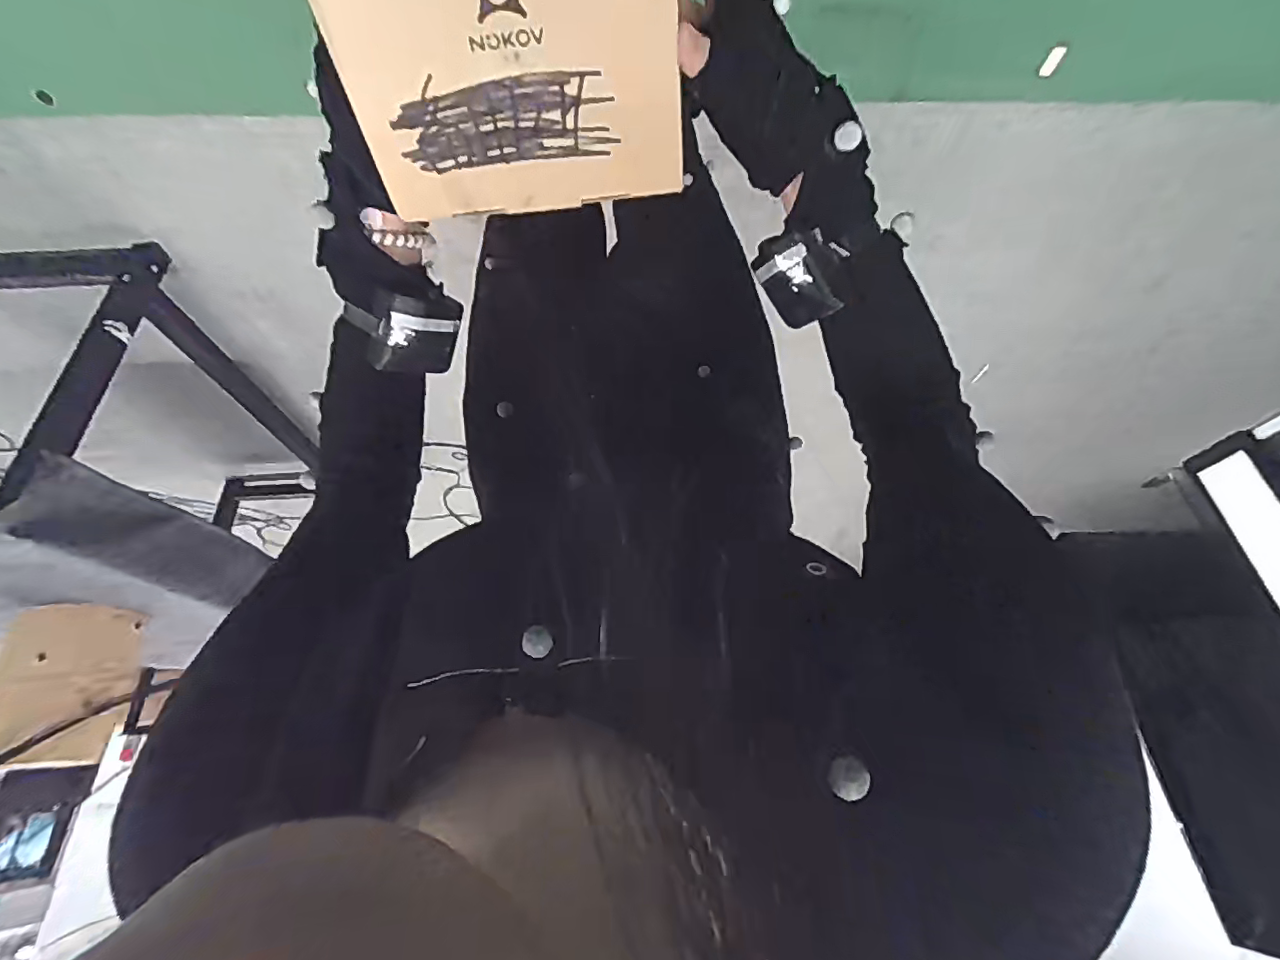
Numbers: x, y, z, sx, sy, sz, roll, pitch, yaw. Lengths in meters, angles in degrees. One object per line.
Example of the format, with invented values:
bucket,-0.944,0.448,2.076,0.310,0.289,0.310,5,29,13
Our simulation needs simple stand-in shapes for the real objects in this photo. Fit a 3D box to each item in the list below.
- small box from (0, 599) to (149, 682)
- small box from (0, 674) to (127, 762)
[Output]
small box,-1.329,0.386,1.288,0.179,0.176,0.168,-2,152,0
small box,-1.335,0.538,1.223,0.179,0.176,0.168,-4,153,0
